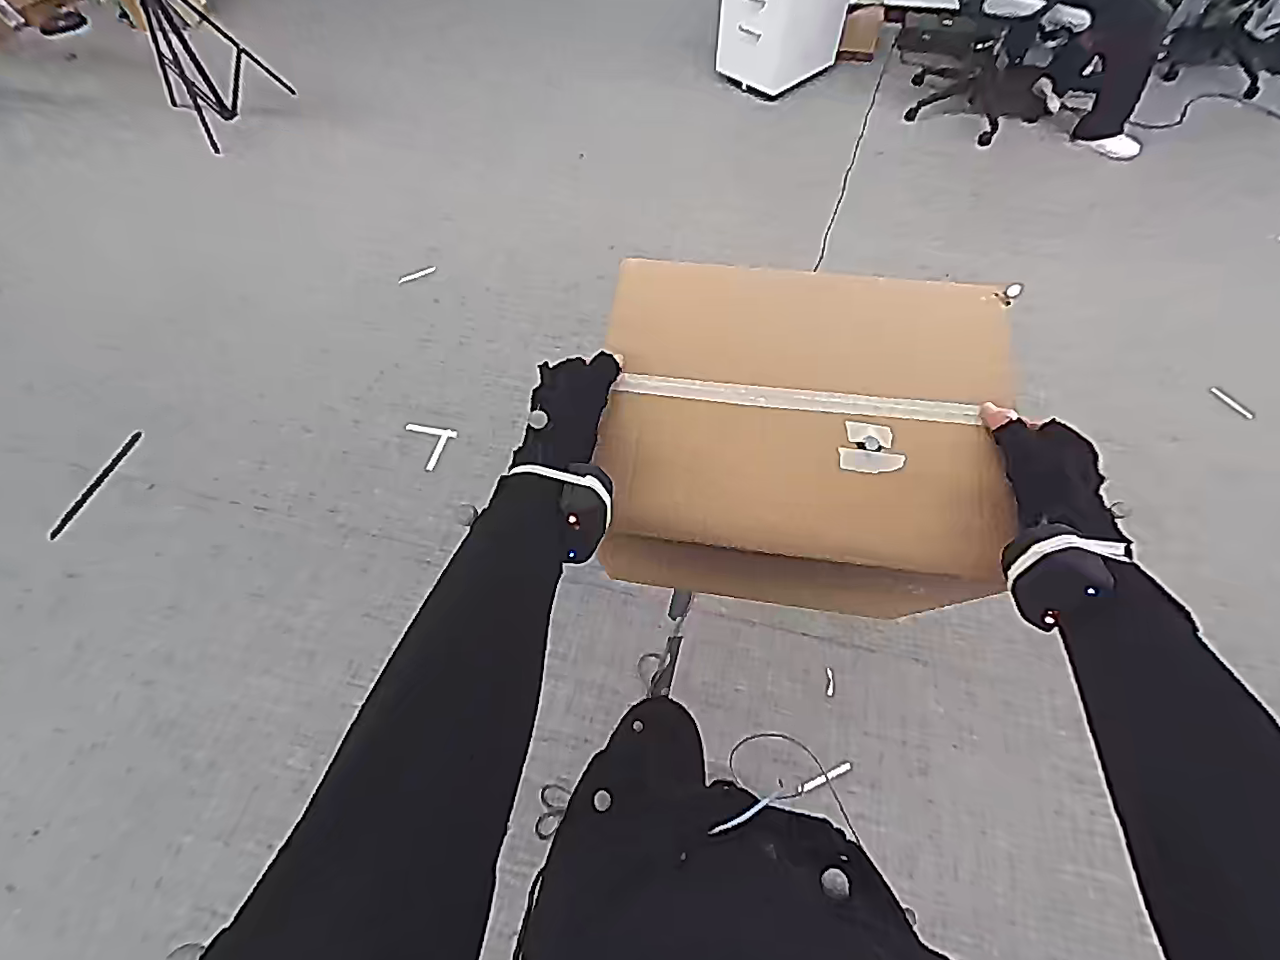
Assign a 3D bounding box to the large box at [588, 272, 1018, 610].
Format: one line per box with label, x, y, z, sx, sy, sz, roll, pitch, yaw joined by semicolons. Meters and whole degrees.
large box;0.171;-0.027;0.690;0.408;0.320;0.320;7;72;6
